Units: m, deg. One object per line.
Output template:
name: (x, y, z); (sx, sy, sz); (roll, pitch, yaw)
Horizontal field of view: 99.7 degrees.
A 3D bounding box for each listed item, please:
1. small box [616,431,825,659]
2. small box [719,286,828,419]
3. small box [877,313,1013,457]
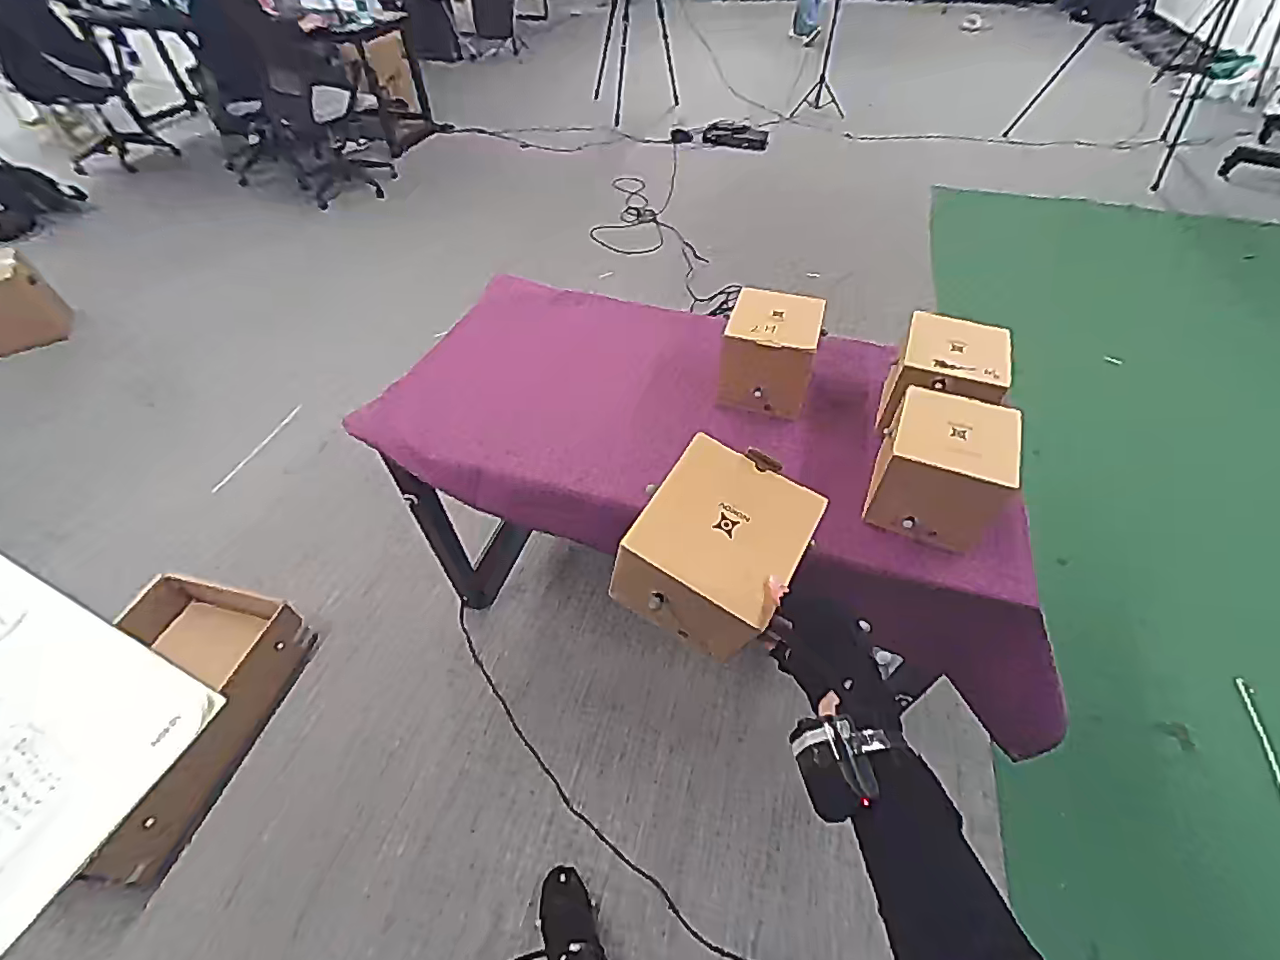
small box: (0.084, 0.084, 0.638); (0.168, 0.176, 0.179); (31, 59, 10)
small box: (0.256, -0.249, 1.059); (0.168, 0.176, 0.179); (14, 52, 12)
small box: (0.552, -0.174, 0.992); (0.168, 0.176, 0.179); (18, 51, 16)
